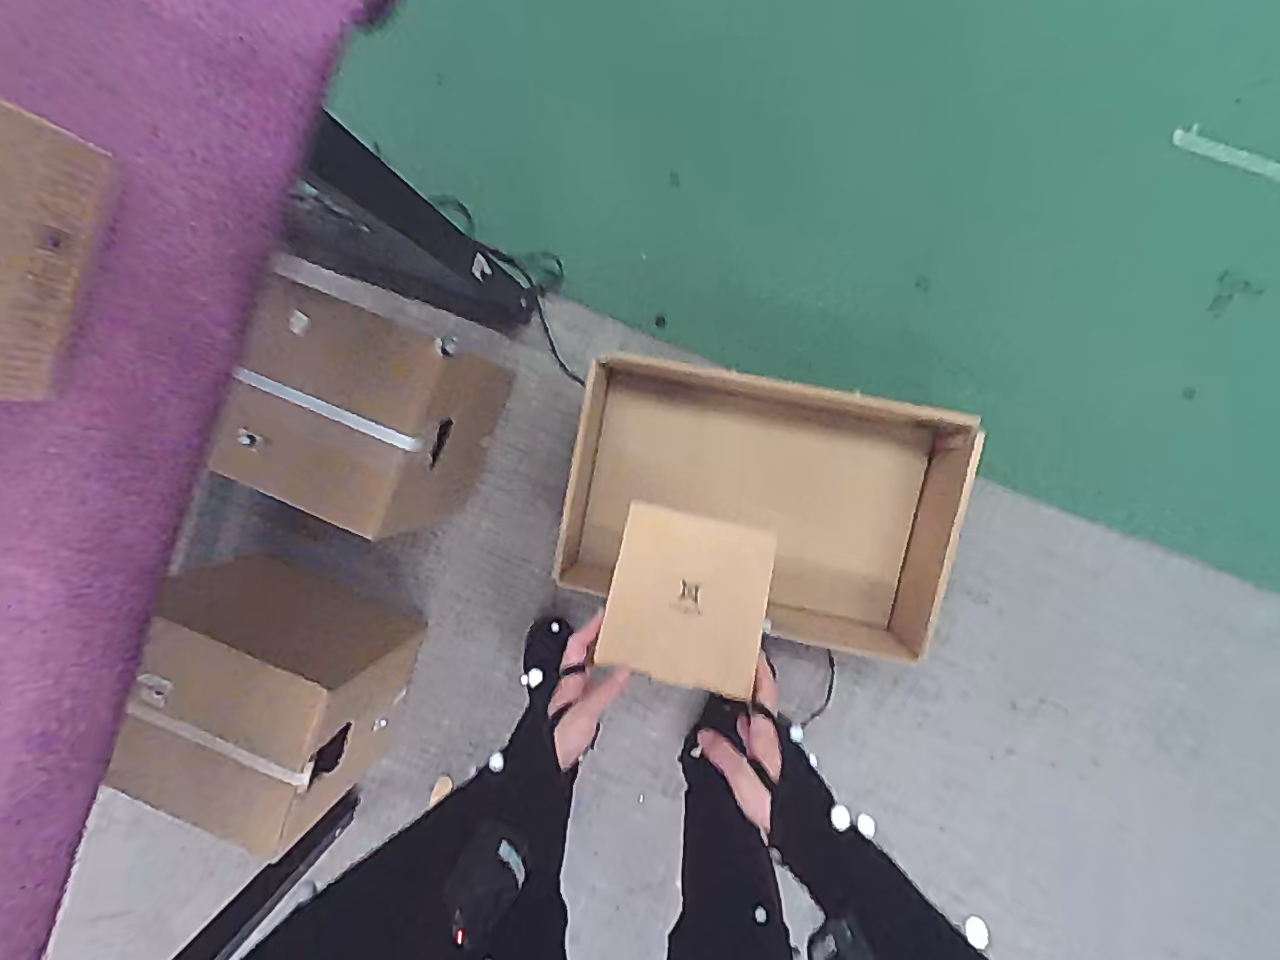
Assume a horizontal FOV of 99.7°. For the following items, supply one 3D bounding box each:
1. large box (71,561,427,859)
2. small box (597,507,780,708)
[{"bbox_3d":[-0.684,0.386,1.004,0.408,0.320,0.320,21,94,5],"label":"large box"},{"bbox_3d":[0.050,0.148,0.635,0.168,0.176,0.179,13,75,2],"label":"small box"}]
